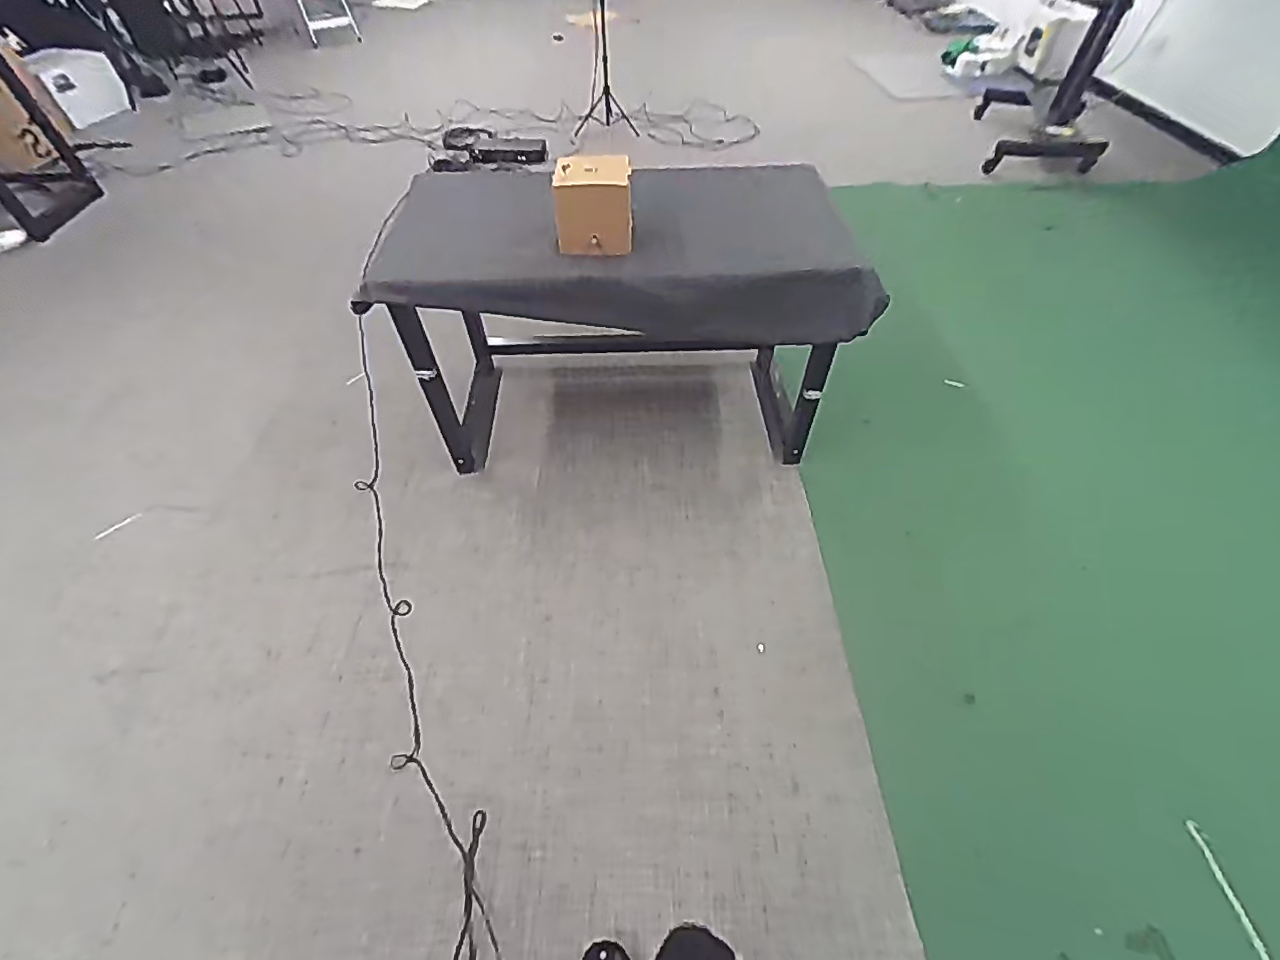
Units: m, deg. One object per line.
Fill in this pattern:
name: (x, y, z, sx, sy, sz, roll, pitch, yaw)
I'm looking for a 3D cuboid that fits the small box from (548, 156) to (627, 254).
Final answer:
small box: (-0.122, -0.673, 1.331, 0.179, 0.176, 0.168, 0, 50, 0)
